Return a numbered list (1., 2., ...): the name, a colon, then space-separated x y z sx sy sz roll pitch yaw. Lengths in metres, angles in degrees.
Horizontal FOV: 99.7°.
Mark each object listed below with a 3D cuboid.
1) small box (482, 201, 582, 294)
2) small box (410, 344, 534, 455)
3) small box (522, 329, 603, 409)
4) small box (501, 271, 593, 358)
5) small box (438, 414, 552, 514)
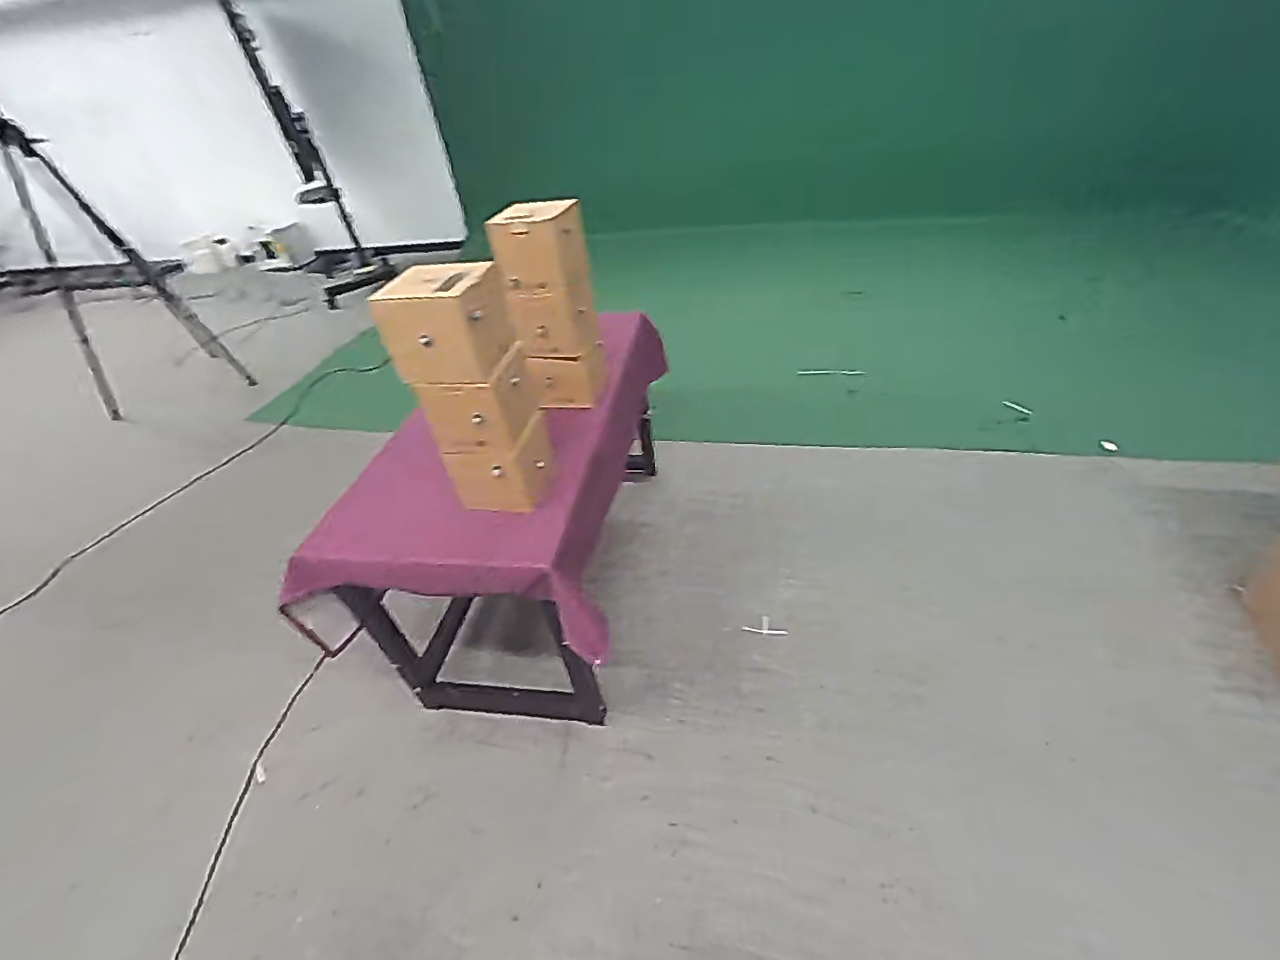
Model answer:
1. small box: -0.254 -0.565 1.326 0.168 0.176 0.179 3 40 16
2. small box: -0.336 -0.164 1.126 0.168 0.176 0.179 2 41 12
3. small box: -0.211 -0.314 1.535 0.168 0.176 0.179 1 41 13
4. small box: -0.235 -0.434 1.425 0.168 0.176 0.179 4 42 15
5. small box: -0.315 -0.037 1.225 0.179 0.176 0.168 2 41 14
